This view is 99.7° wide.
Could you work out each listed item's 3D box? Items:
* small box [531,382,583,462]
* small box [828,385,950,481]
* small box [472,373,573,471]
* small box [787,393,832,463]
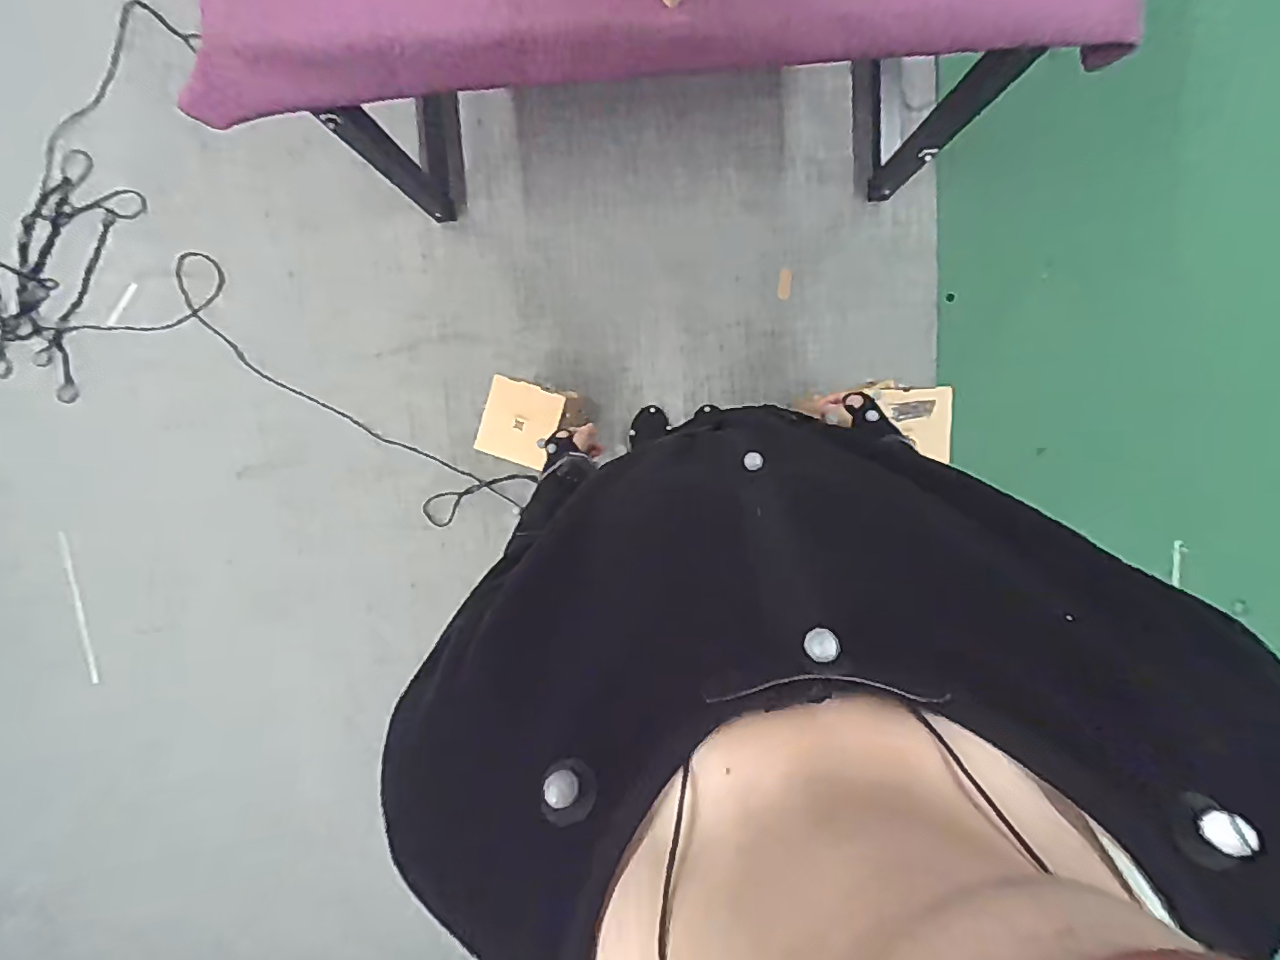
[{"bbox_3d":[-0.251,-0.156,1.413,0.168,0.176,0.179,12,98,1],"label":"small box"},{"bbox_3d":[0.482,-0.095,1.070,0.168,0.176,0.179,-1,98,1],"label":"small box"},{"bbox_3d":[-0.263,-0.134,1.253,0.168,0.176,0.179,18,97,0],"label":"small box"},{"bbox_3d":[0.491,-0.128,1.397,0.179,0.176,0.168,7,98,1],"label":"small box"}]
